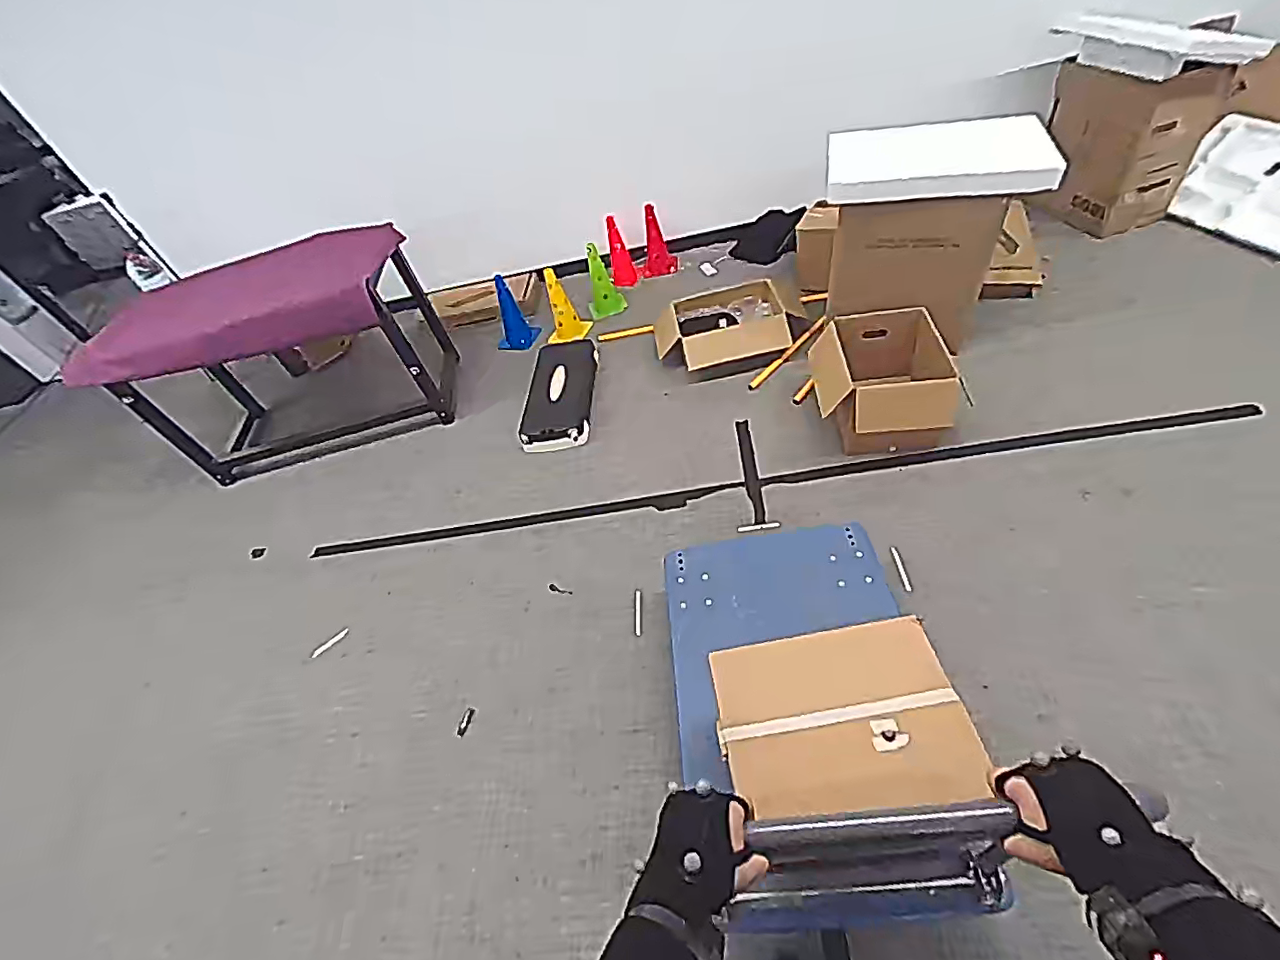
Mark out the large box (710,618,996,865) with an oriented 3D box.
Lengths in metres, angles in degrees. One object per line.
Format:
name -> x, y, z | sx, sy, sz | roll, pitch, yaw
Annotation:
large box -> 0.372, 0.516, 1.058 | 0.408, 0.320, 0.320 | -11, 47, 4
